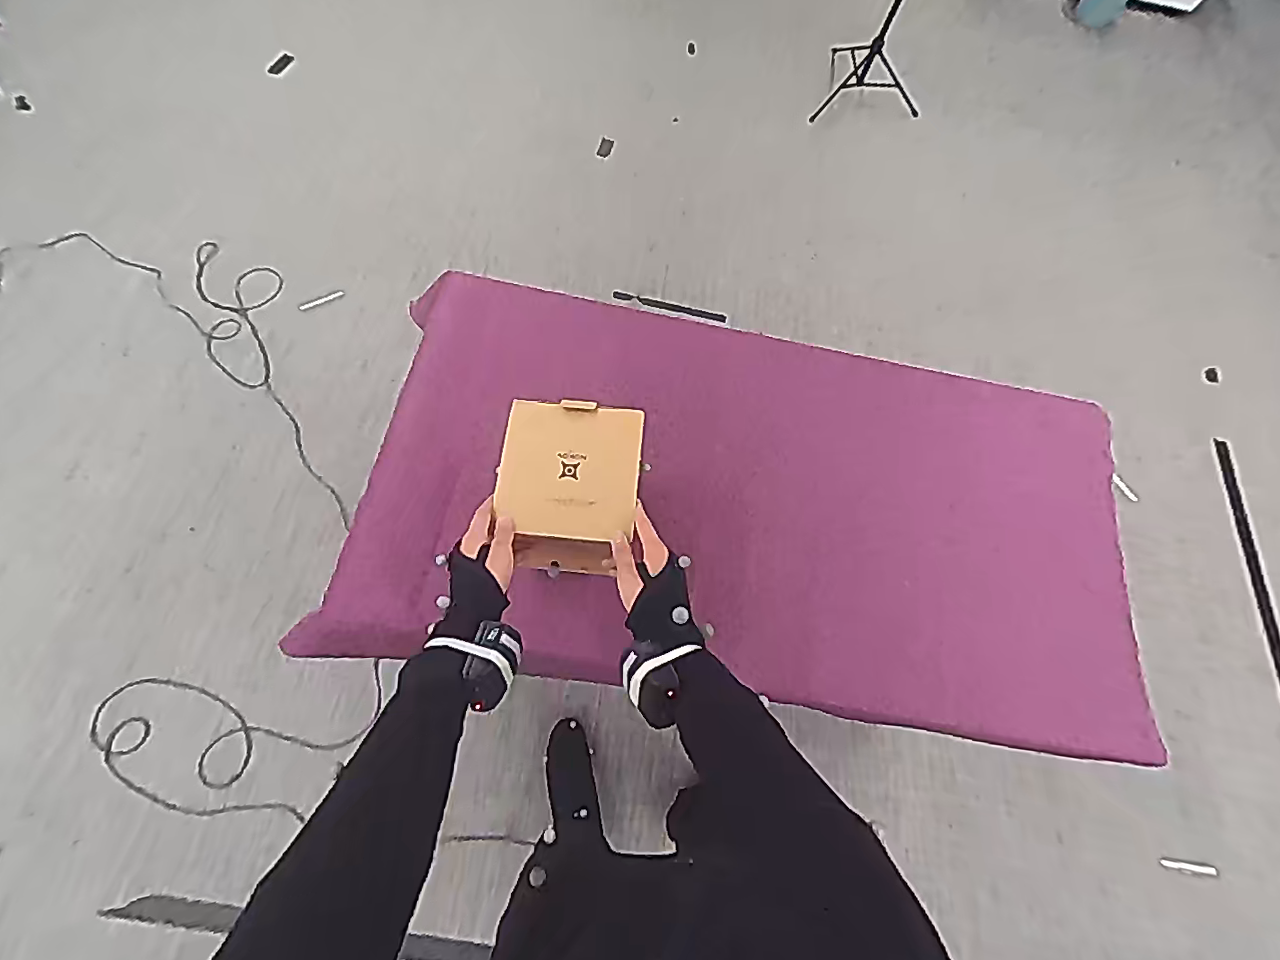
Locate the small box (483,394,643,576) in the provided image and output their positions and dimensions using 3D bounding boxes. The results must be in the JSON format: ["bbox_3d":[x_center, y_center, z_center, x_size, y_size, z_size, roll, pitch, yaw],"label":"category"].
[{"bbox_3d":[-0.090,0.013,0.703,0.168,0.176,0.179,6,67,0],"label":"small box"}]
